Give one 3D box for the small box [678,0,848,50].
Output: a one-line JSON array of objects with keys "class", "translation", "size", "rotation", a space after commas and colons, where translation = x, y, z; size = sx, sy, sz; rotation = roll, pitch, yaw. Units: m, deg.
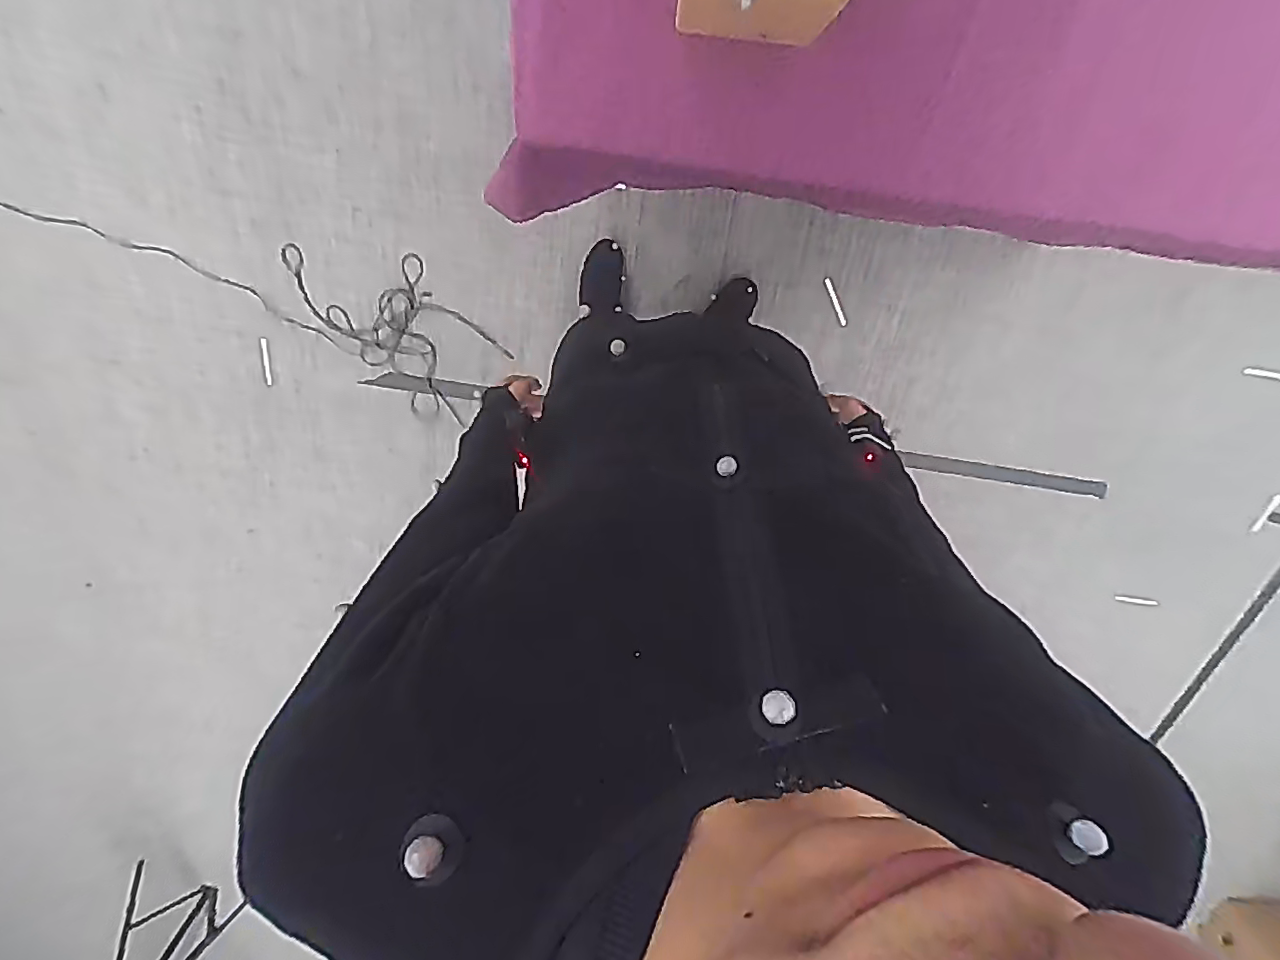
[{"class": "small box", "translation": [0.131, -0.576, 0.547], "size": [0.168, 0.176, 0.179], "rotation": [6, 115, -2]}]
